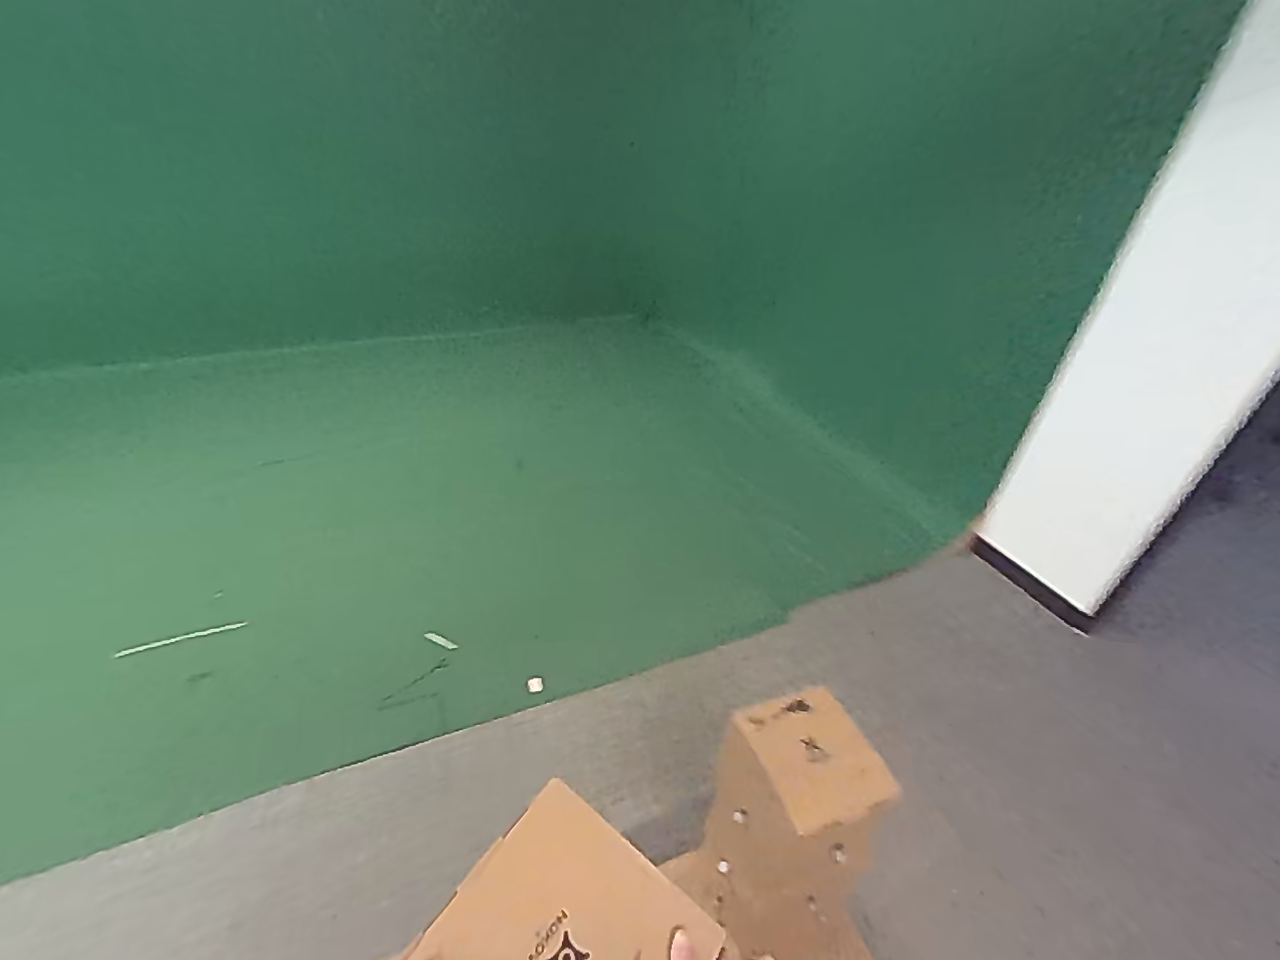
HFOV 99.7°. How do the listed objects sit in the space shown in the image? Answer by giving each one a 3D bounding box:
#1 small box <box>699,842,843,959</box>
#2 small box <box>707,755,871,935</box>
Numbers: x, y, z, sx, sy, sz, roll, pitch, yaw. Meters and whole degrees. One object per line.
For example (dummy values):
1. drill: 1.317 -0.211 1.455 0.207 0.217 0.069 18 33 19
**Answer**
1. small box: 0.225 0.714 0.977 0.179 0.176 0.168 -8 36 -20
2. small box: 0.227 0.585 0.873 0.179 0.176 0.168 -7 36 -18
